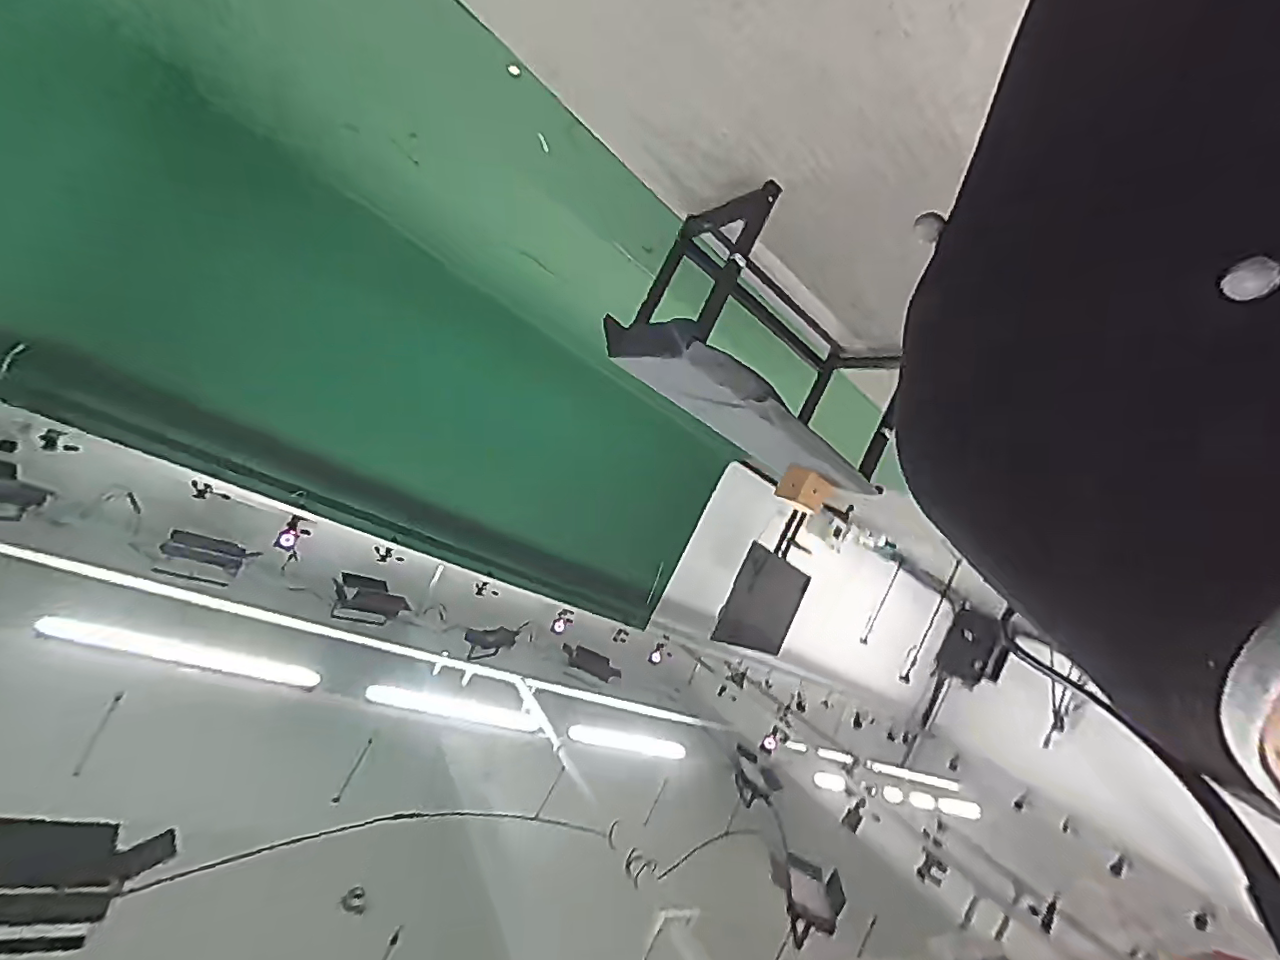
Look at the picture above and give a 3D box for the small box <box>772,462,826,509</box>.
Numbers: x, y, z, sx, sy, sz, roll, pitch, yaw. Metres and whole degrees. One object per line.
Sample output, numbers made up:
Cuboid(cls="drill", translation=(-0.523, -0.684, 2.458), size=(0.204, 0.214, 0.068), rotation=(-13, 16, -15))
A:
Cuboid(cls="small box", translation=(0.800, 0.024, 2.698), size=(0.168, 0.176, 0.179), rotation=(29, 175, -27))
